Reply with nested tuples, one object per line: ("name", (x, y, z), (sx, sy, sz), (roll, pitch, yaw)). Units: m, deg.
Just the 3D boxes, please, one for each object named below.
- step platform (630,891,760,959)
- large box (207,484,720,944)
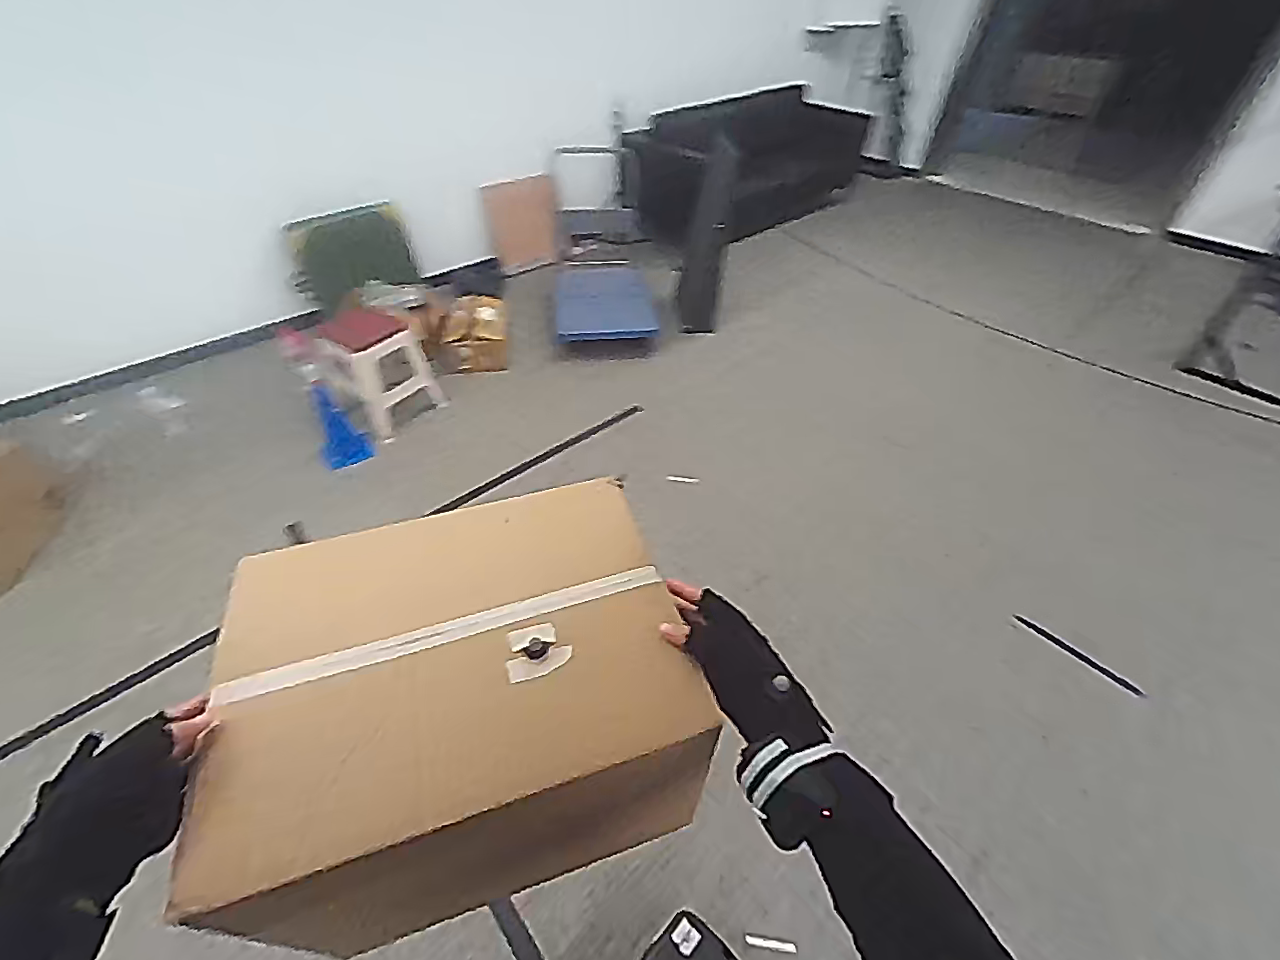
("step platform", (-0.021, 1.200, 1.057), (0.684, 0.204, 0.286), (-33, 54, -32))
("large box", (-0.168, 0.252, 0.625), (0.408, 0.320, 0.320), (-12, 47, -14))
